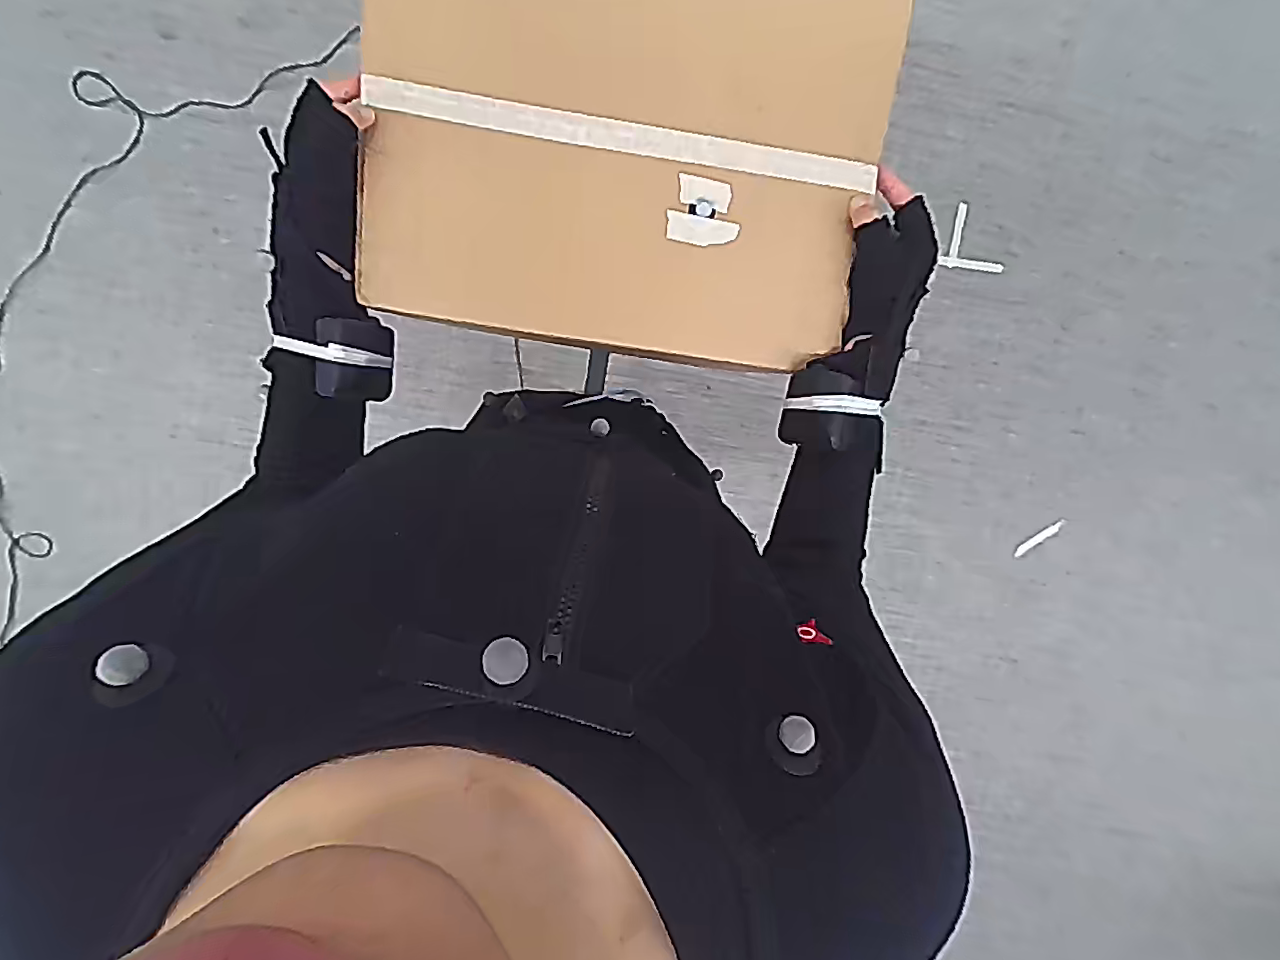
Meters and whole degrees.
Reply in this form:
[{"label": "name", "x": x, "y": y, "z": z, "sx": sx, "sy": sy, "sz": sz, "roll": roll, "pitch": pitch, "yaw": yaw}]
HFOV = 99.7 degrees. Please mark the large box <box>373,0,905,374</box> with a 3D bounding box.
[{"label": "large box", "x": -0.018, "y": -0.297, "z": 0.579, "sx": 0.408, "sy": 0.320, "sz": 0.320, "roll": 8, "pitch": 103, "yaw": -6}]
